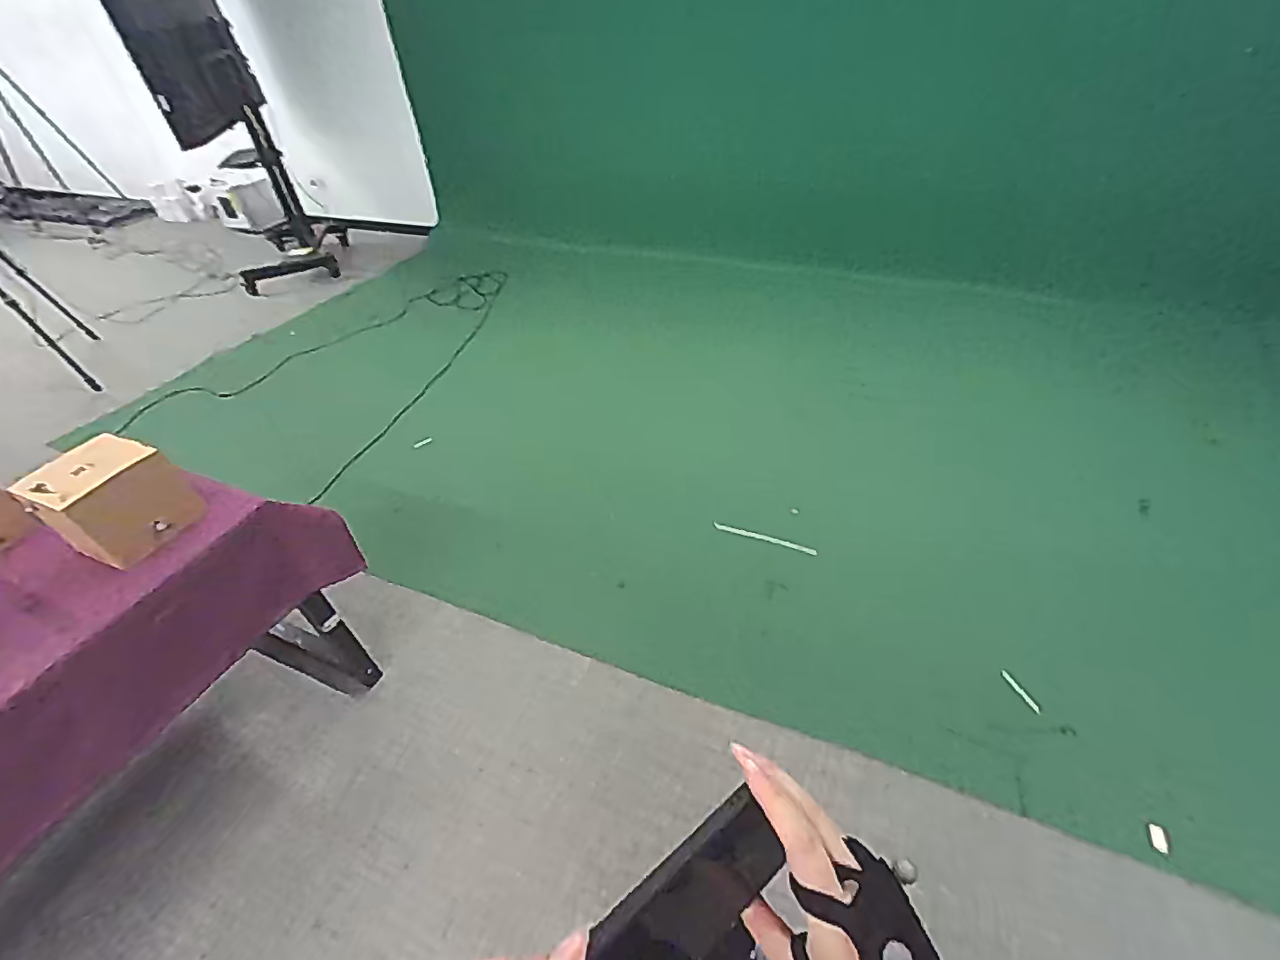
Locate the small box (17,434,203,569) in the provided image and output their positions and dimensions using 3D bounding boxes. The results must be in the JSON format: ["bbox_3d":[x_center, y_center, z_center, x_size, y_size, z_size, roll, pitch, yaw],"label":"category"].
[{"bbox_3d":[-1.005,0.040,1.050,0.168,0.176,0.179,13,45,19],"label":"small box"}]

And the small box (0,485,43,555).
[{"bbox_3d":[-1.349,0.069,1.044,0.179,0.176,0.168,13,45,17],"label":"small box"}]
